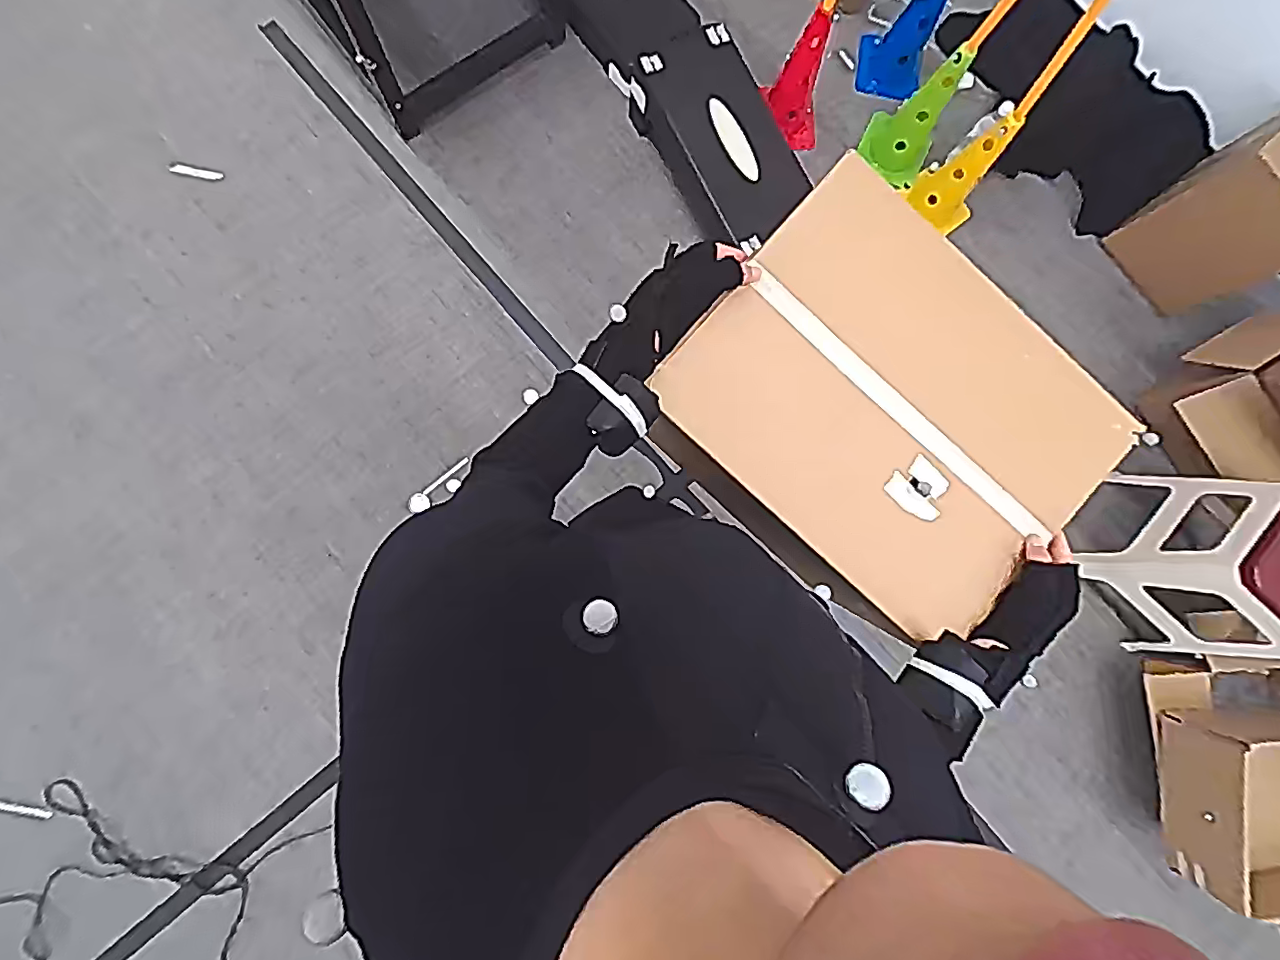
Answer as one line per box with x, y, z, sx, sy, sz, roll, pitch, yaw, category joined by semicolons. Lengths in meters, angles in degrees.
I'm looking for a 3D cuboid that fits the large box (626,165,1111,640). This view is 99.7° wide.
0.233;-0.079;0.692;0.408;0.320;0.320;42;89;-4;large box
